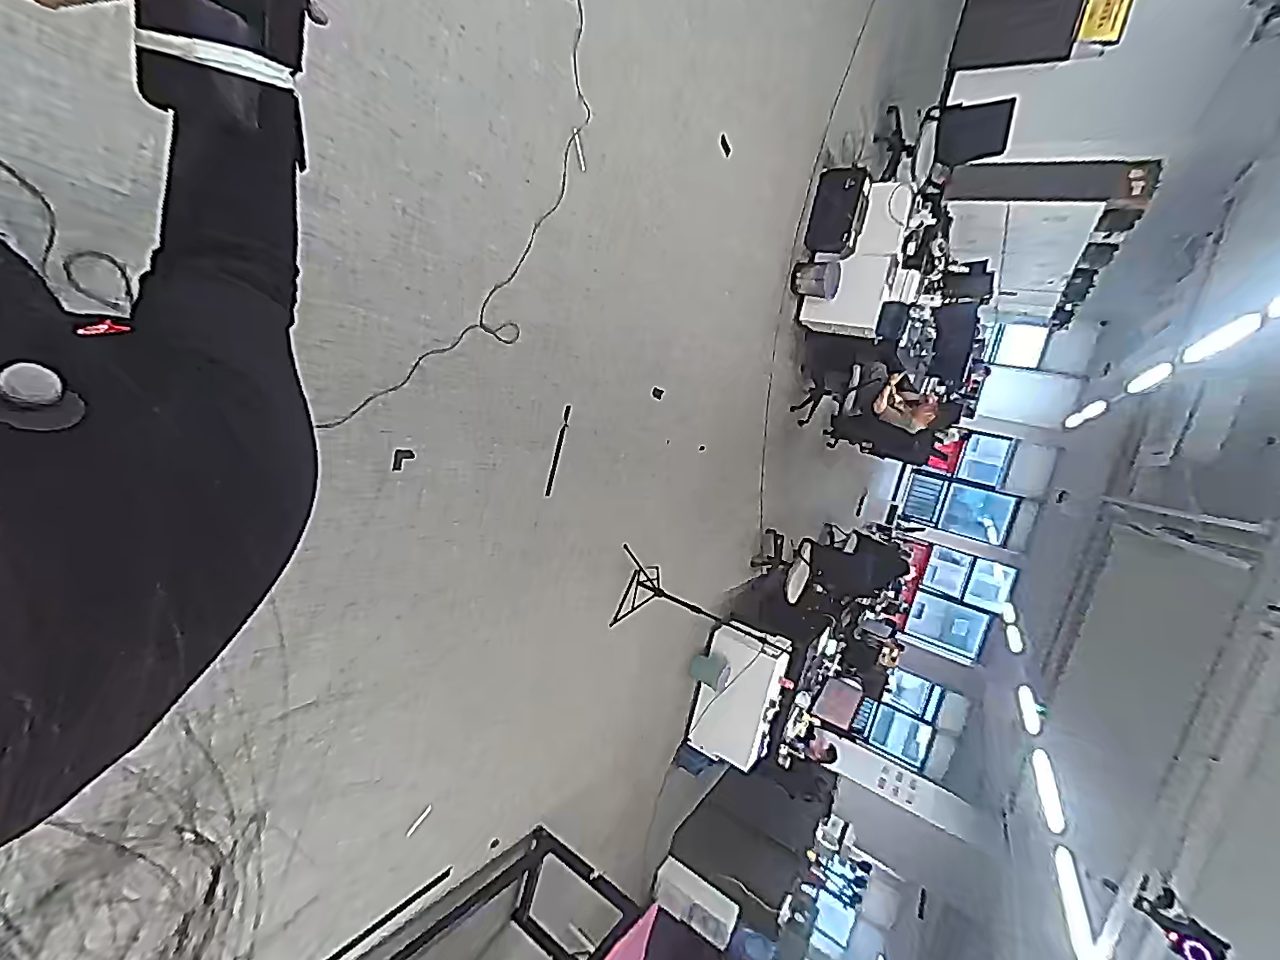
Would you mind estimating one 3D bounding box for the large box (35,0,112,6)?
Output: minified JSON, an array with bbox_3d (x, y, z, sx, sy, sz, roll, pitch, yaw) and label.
[{"bbox_3d":[-0.434,-0.473,0.188,0.408,0.320,0.320,-5,117,-59],"label":"large box"}]
